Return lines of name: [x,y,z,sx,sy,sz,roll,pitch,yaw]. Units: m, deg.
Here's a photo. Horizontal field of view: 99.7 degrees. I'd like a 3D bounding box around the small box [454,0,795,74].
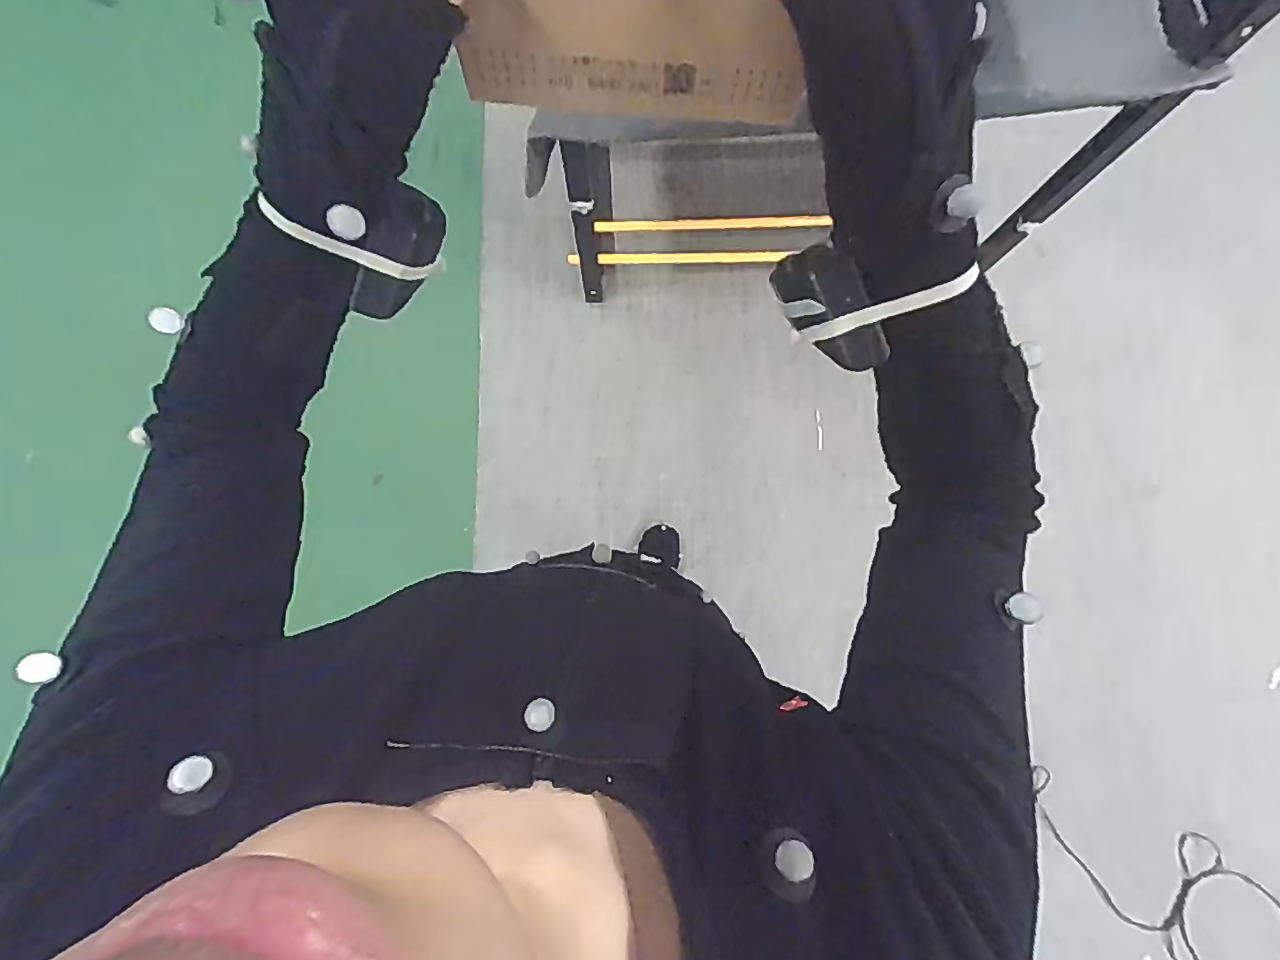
small box: [-0.004,-0.306,0.214,0.168,0.176,0.179,3,75,-2]
